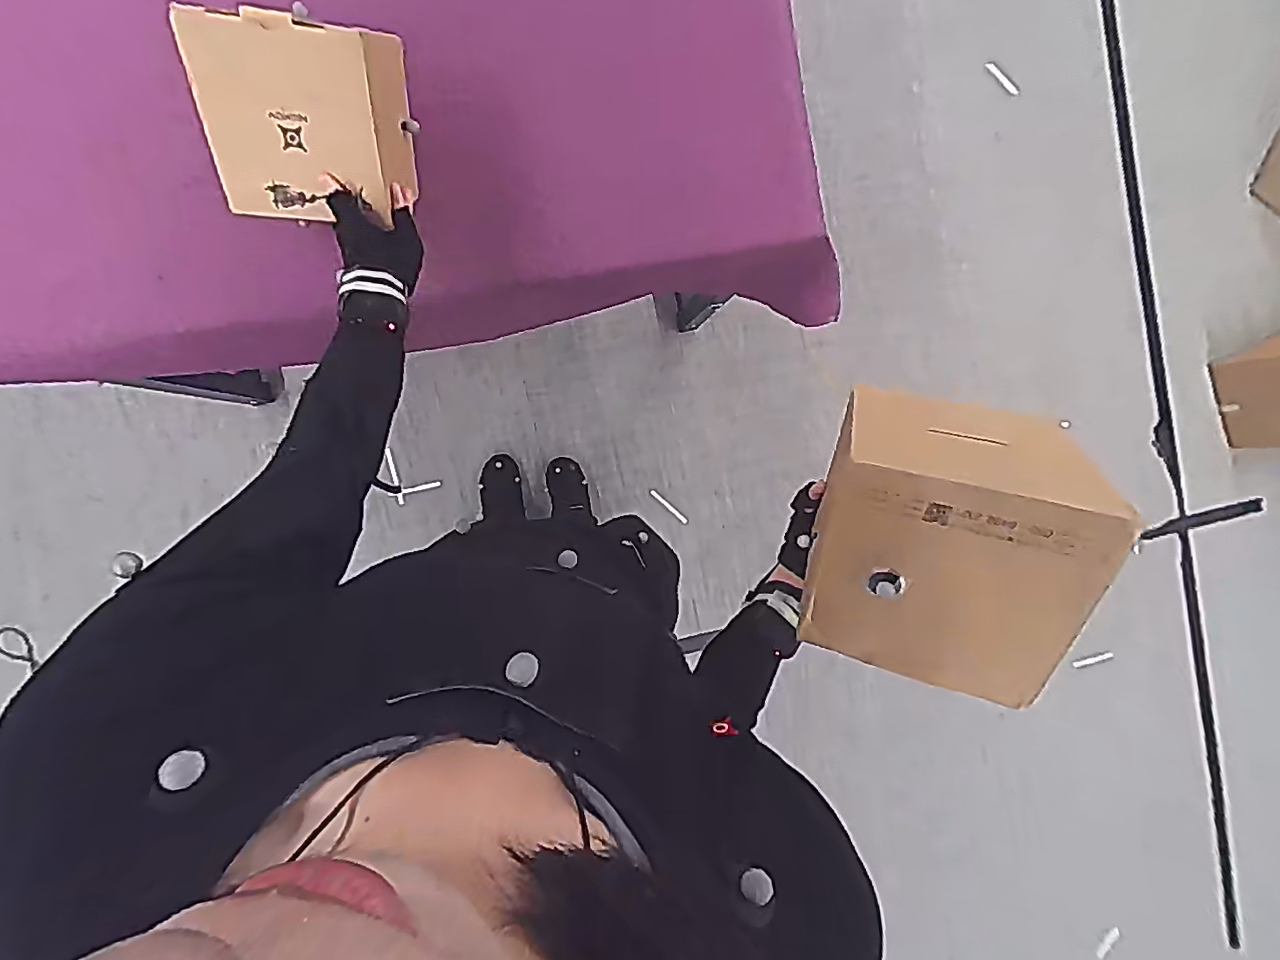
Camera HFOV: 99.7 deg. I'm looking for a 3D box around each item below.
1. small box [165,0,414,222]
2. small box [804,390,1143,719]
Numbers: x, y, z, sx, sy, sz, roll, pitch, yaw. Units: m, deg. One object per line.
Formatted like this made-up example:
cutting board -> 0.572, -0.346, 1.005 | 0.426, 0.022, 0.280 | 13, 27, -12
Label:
small box -> -0.363, -0.405, 0.604 | 0.168, 0.176, 0.179 | 1, 125, -9
small box -> 0.236, 0.040, 0.426 | 0.168, 0.179, 0.176 | 15, 120, 15
